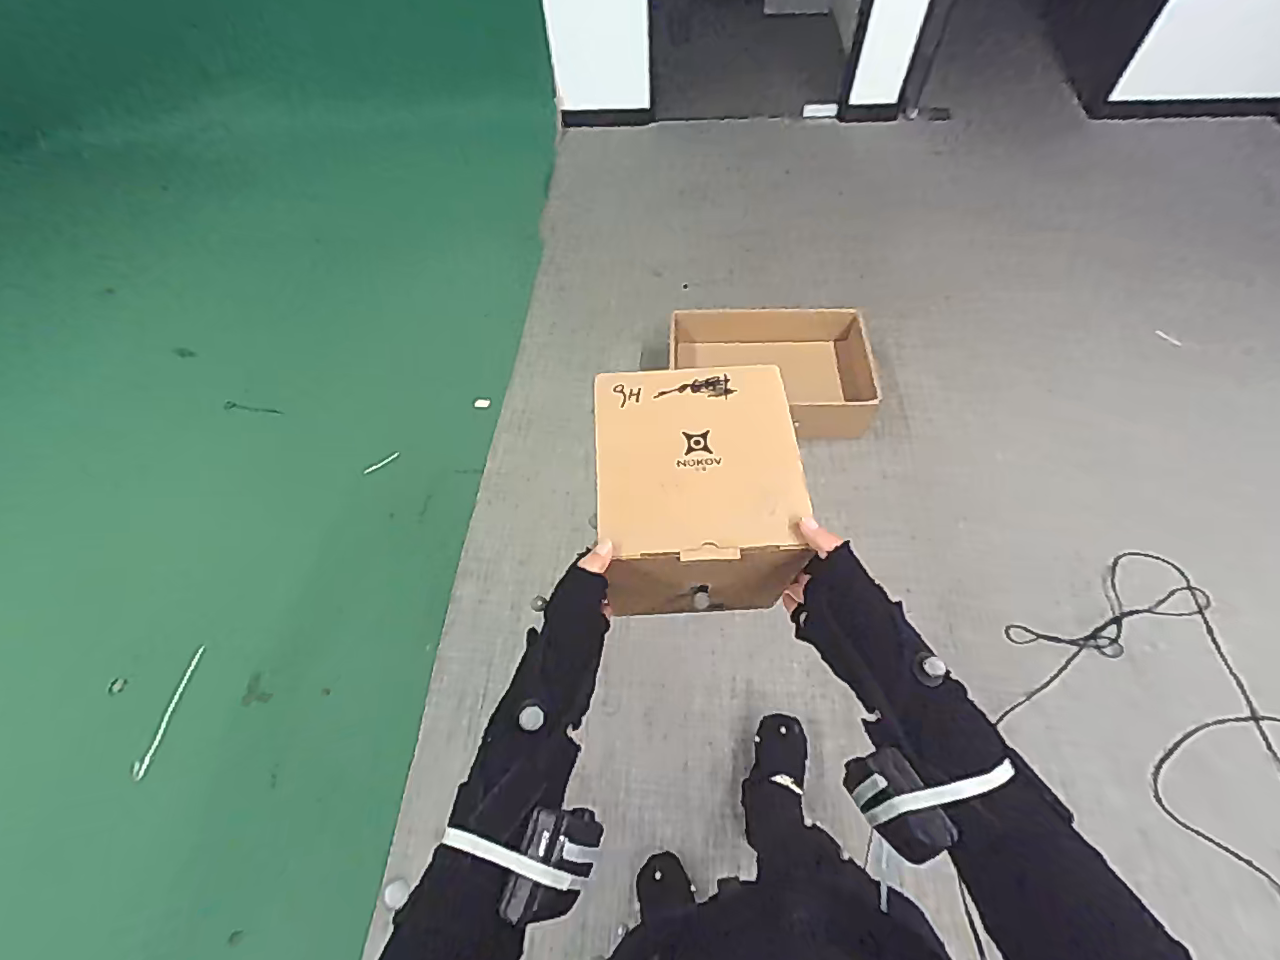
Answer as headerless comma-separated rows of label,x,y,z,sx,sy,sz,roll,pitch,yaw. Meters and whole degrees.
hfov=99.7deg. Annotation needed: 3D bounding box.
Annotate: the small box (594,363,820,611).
small box,0.050,0.017,0.509,0.168,0.176,0.179,-6,61,-2
